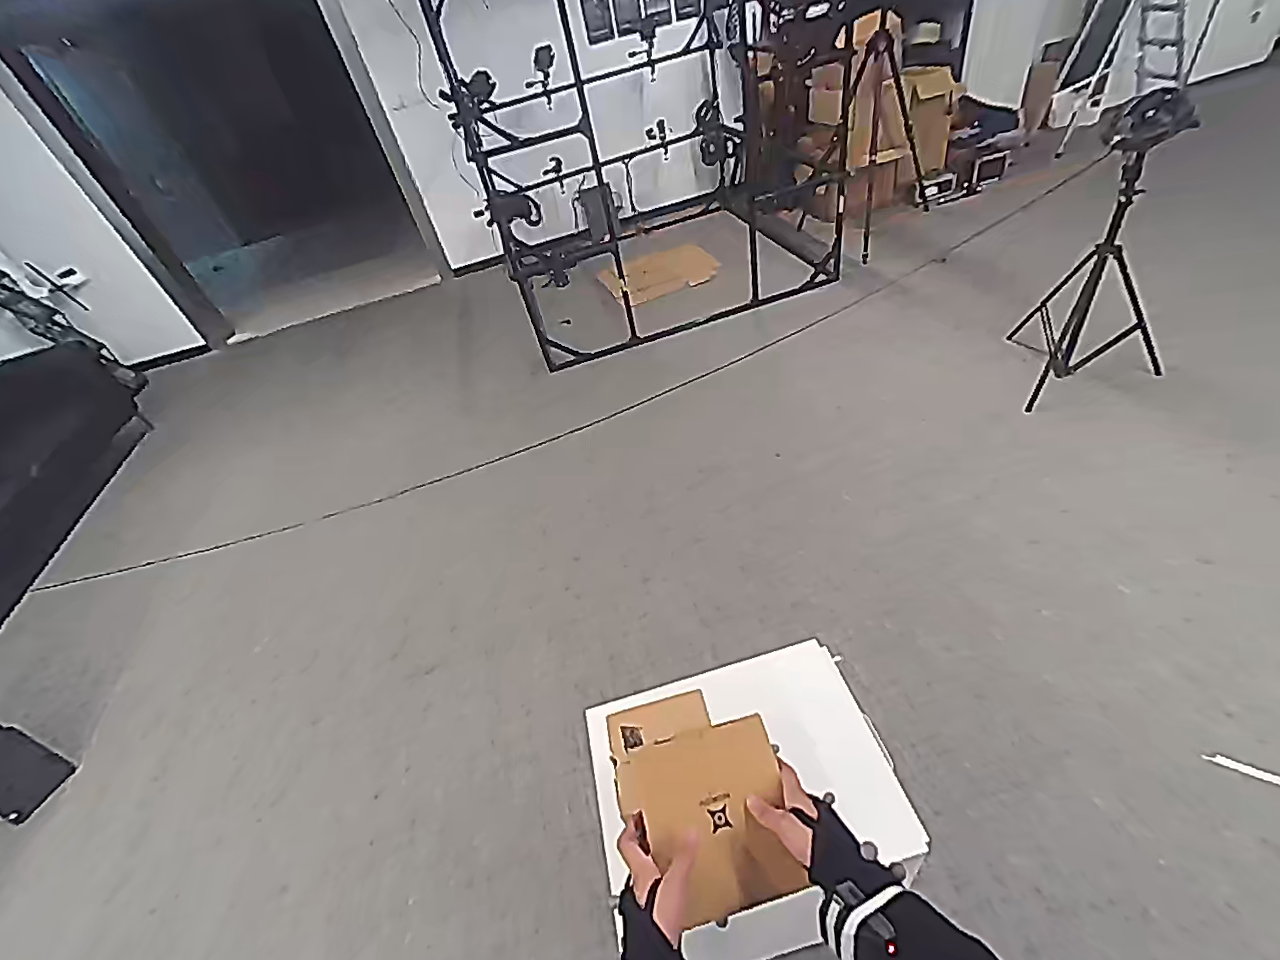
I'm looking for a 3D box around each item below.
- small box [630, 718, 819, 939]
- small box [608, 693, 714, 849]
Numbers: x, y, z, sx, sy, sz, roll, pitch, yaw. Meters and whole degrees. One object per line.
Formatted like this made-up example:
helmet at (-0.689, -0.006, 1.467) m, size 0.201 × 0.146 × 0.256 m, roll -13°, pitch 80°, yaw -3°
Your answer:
small box at (0.090, 0.416, 0.659) m, size 0.168 × 0.176 × 0.179 m, roll -13°, pitch 55°, yaw -7°
small box at (0.056, 0.503, 0.929) m, size 0.179 × 0.176 × 0.168 m, roll -15°, pitch 41°, yaw -2°
